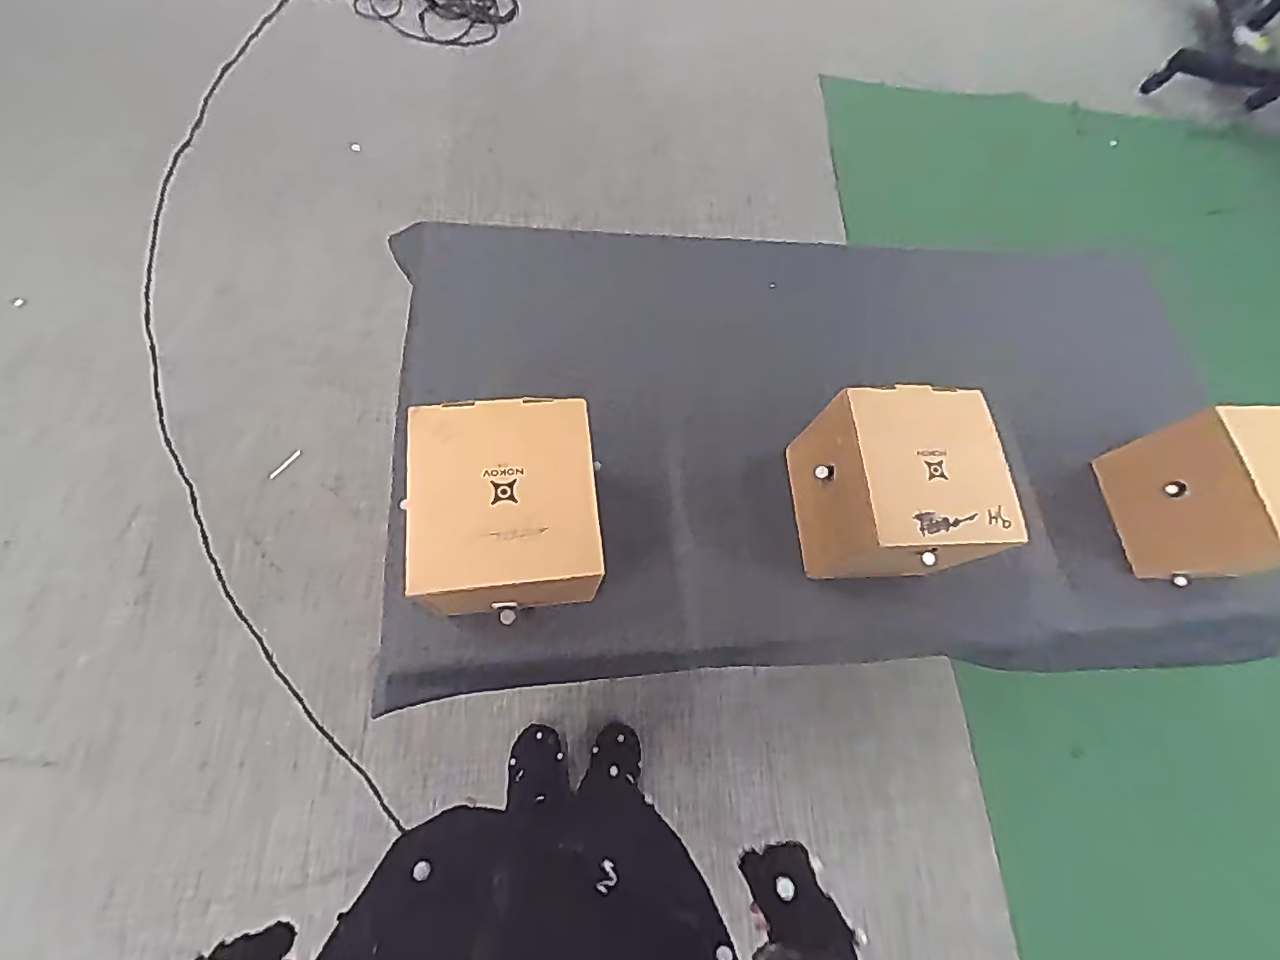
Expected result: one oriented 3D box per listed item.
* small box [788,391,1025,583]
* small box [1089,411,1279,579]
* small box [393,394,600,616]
[{"bbox_3d":[0.288,0.016,0.631,0.168,0.176,0.179,0,69,-9],"label":"small box"},{"bbox_3d":[0.744,0.028,0.695,0.168,0.176,0.179,0,68,-8],"label":"small box"},{"bbox_3d":[-0.130,0.032,0.538,0.168,0.176,0.179,-3,70,-8],"label":"small box"}]
